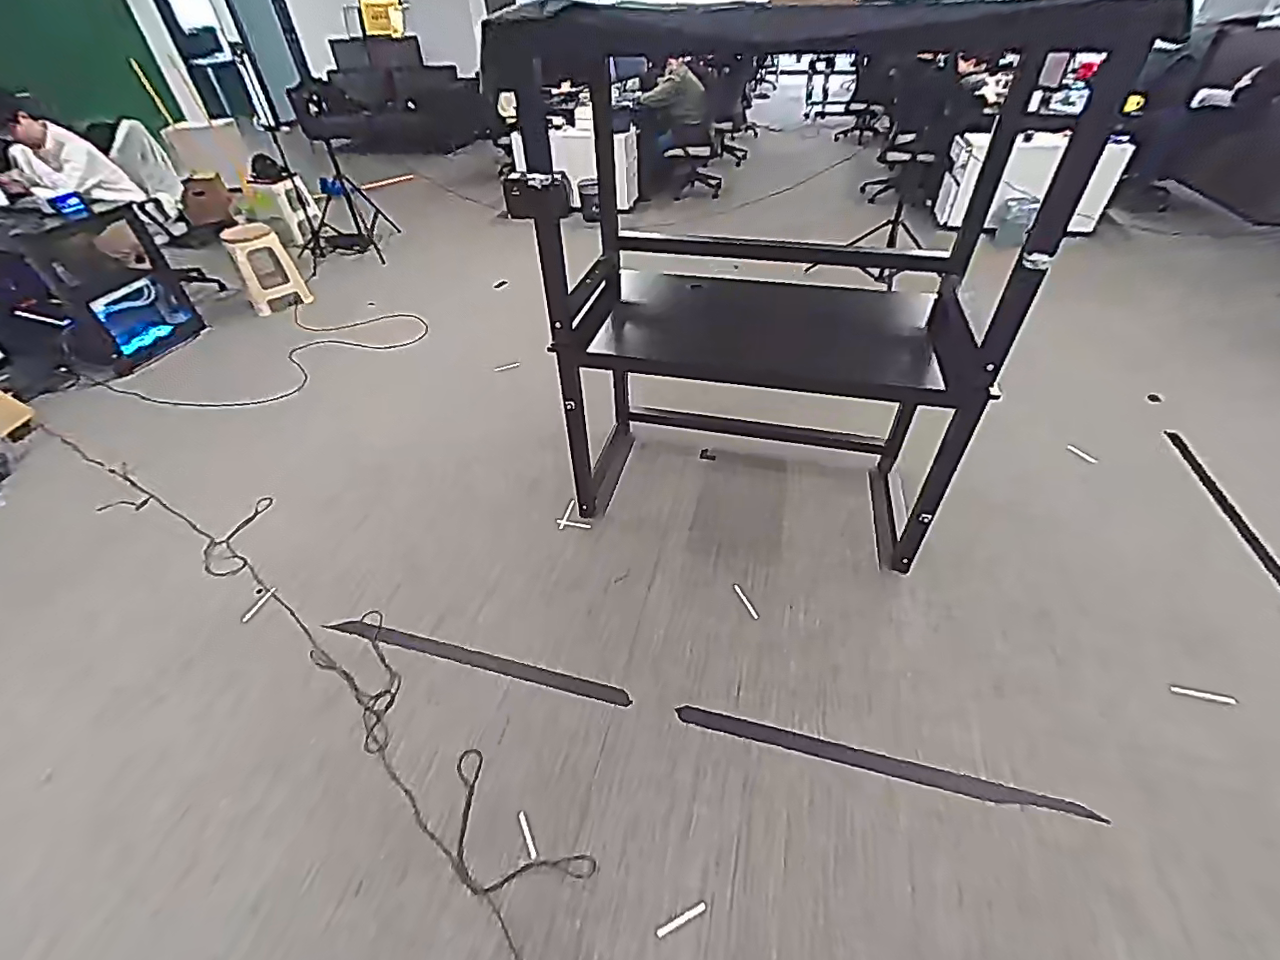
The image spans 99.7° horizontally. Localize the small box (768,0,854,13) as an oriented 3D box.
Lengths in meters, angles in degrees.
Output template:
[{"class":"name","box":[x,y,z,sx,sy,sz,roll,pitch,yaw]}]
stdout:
[{"class":"small box","box":[0.344,-1.022,1.045,0.168,0.176,0.179,8,41,11]}]
